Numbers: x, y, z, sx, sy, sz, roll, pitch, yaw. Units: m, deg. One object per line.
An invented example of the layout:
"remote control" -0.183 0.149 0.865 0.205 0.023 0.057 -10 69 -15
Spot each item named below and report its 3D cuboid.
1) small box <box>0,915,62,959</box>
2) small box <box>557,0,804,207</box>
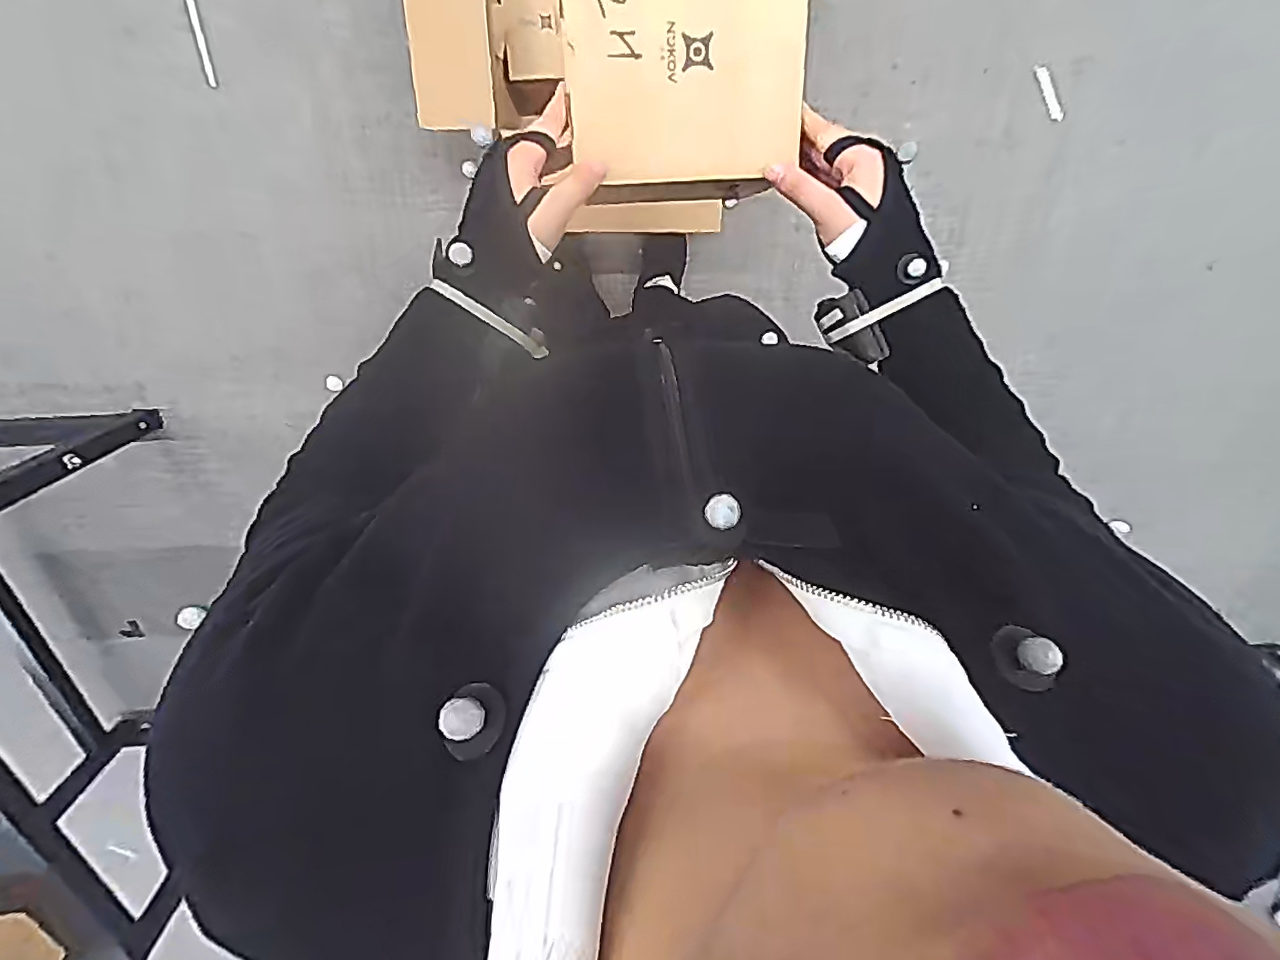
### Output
"small box" -1.385 1.043 1.121 0.168 0.176 0.179 -3 118 -2
"small box" 0.026 -0.334 0.462 0.179 0.176 0.168 -3 112 -1
